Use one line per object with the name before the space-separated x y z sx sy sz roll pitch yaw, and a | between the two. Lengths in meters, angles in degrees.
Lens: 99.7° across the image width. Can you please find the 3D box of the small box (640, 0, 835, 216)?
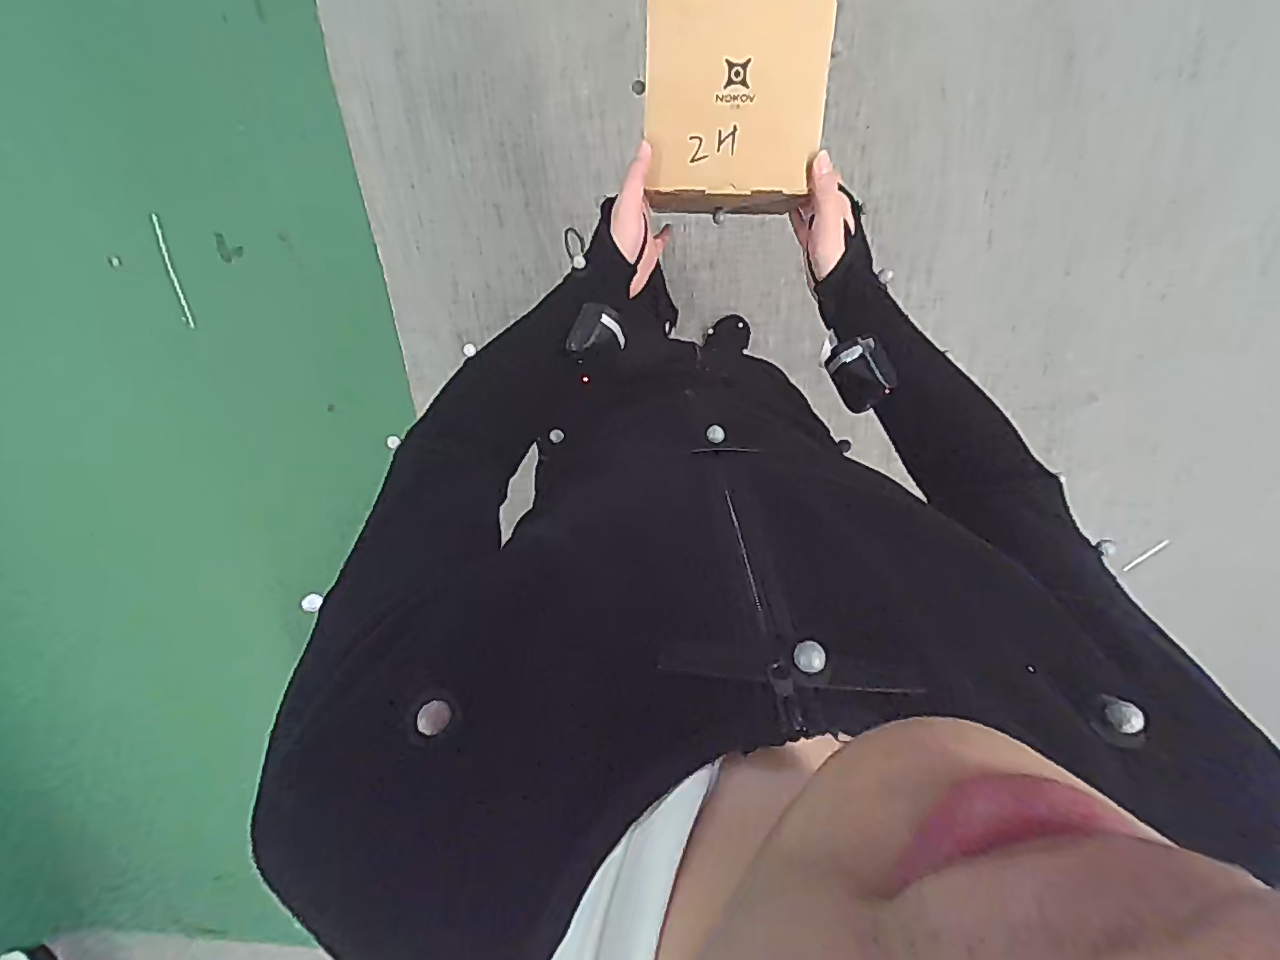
small box | 0.091 -0.386 0.563 0.168 0.176 0.179 3 109 5

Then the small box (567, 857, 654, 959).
small box | -0.058 0.996 1.219 0.168 0.176 0.179 -2 110 6
